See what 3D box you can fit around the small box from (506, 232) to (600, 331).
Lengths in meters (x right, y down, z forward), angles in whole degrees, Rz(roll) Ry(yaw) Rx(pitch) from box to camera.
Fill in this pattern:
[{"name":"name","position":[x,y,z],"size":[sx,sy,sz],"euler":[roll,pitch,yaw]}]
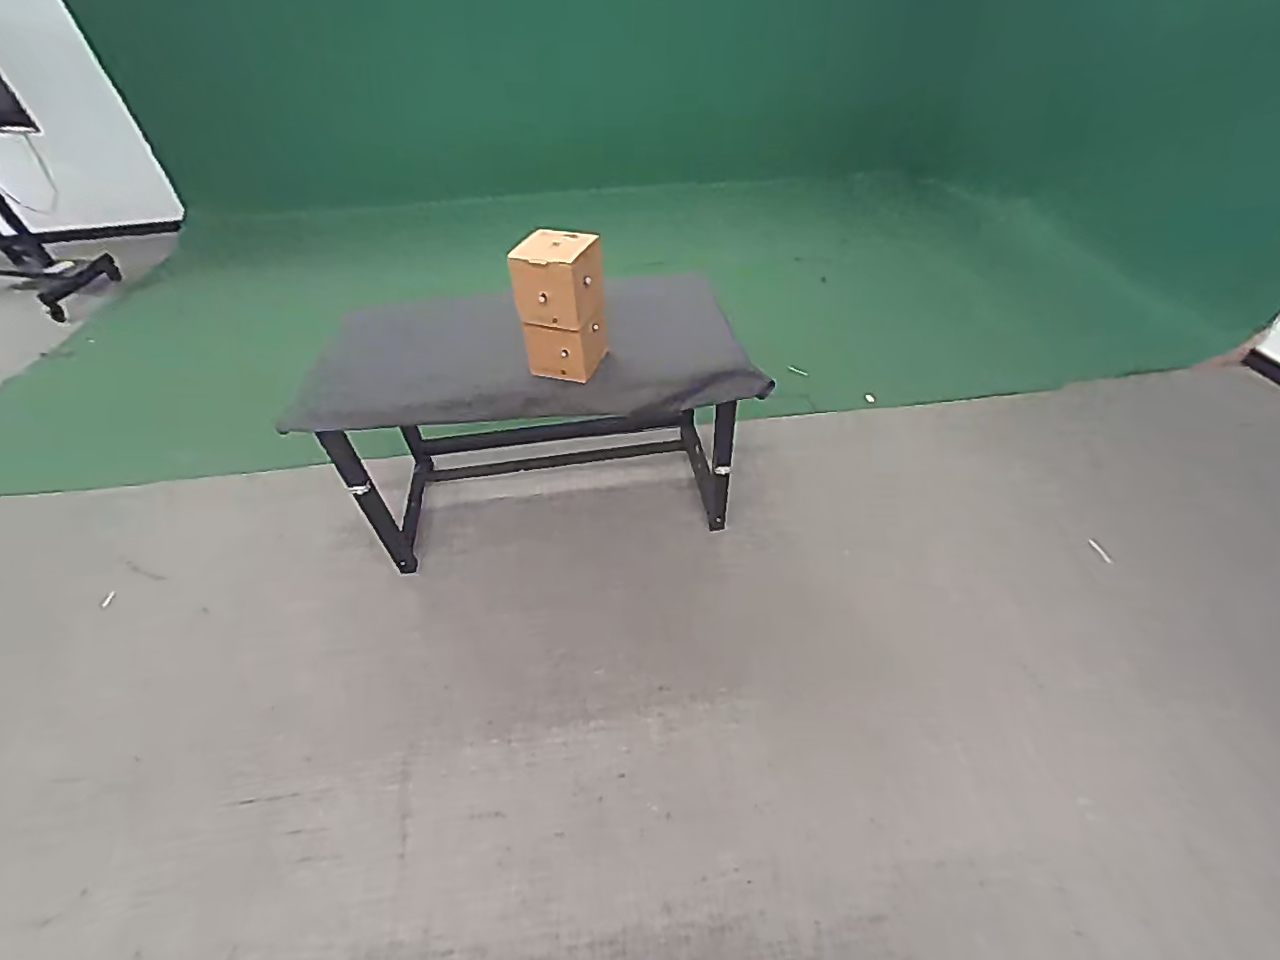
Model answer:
[{"name":"small box","position":[-0.204,-0.491,1.340],"size":[0.168,0.176,0.179],"euler":[13,48,14]}]

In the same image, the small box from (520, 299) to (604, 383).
[{"name":"small box","position":[-0.201,-0.384,1.465],"size":[0.168,0.176,0.179],"euler":[12,46,13]}]
